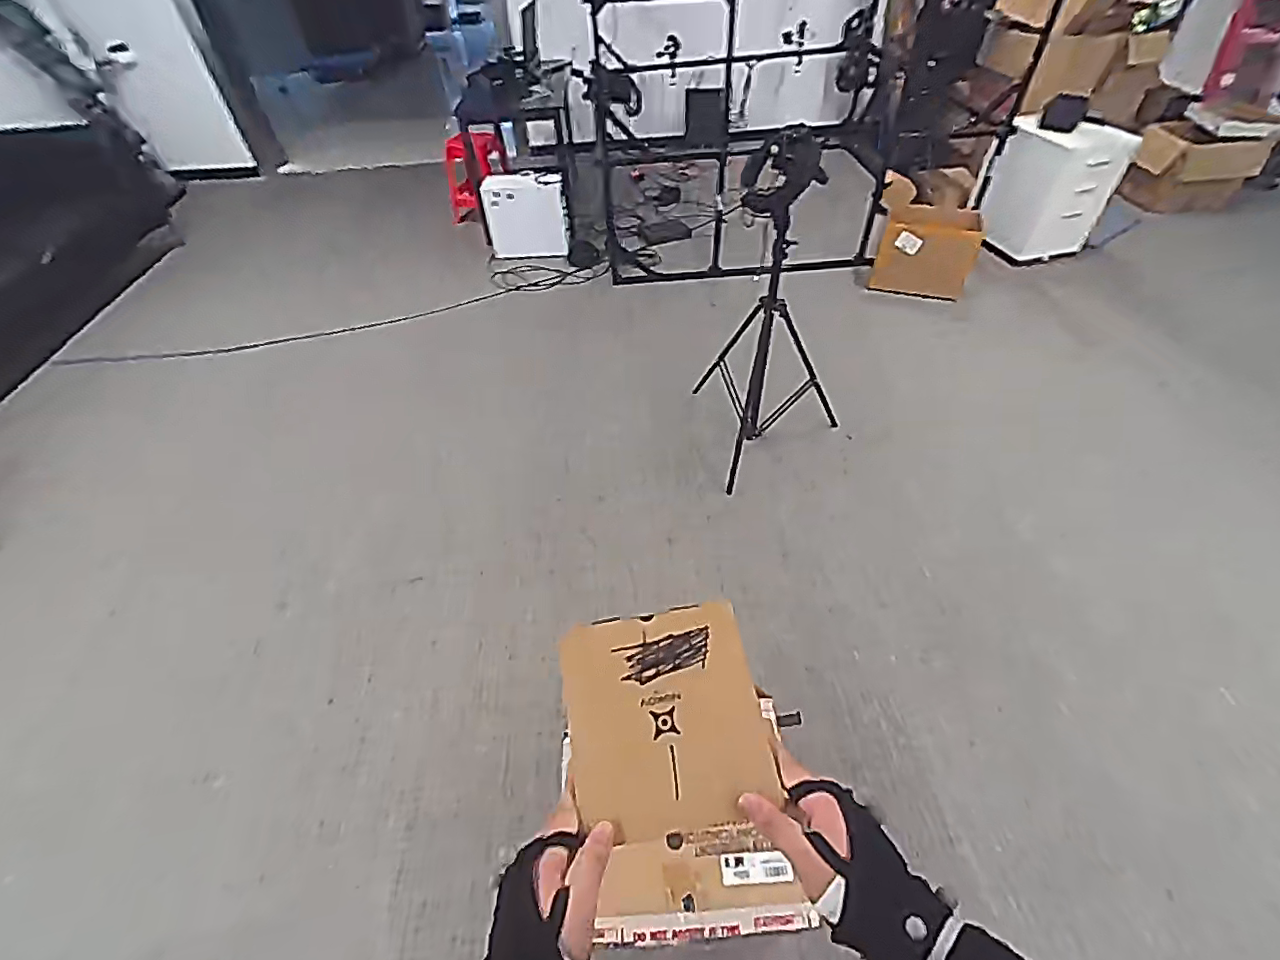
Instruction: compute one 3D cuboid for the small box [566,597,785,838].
[{"bbox_3d":[0.023,0.238,0.538,0.168,0.176,0.179,-9,60,-5],"label":"small box"}]
